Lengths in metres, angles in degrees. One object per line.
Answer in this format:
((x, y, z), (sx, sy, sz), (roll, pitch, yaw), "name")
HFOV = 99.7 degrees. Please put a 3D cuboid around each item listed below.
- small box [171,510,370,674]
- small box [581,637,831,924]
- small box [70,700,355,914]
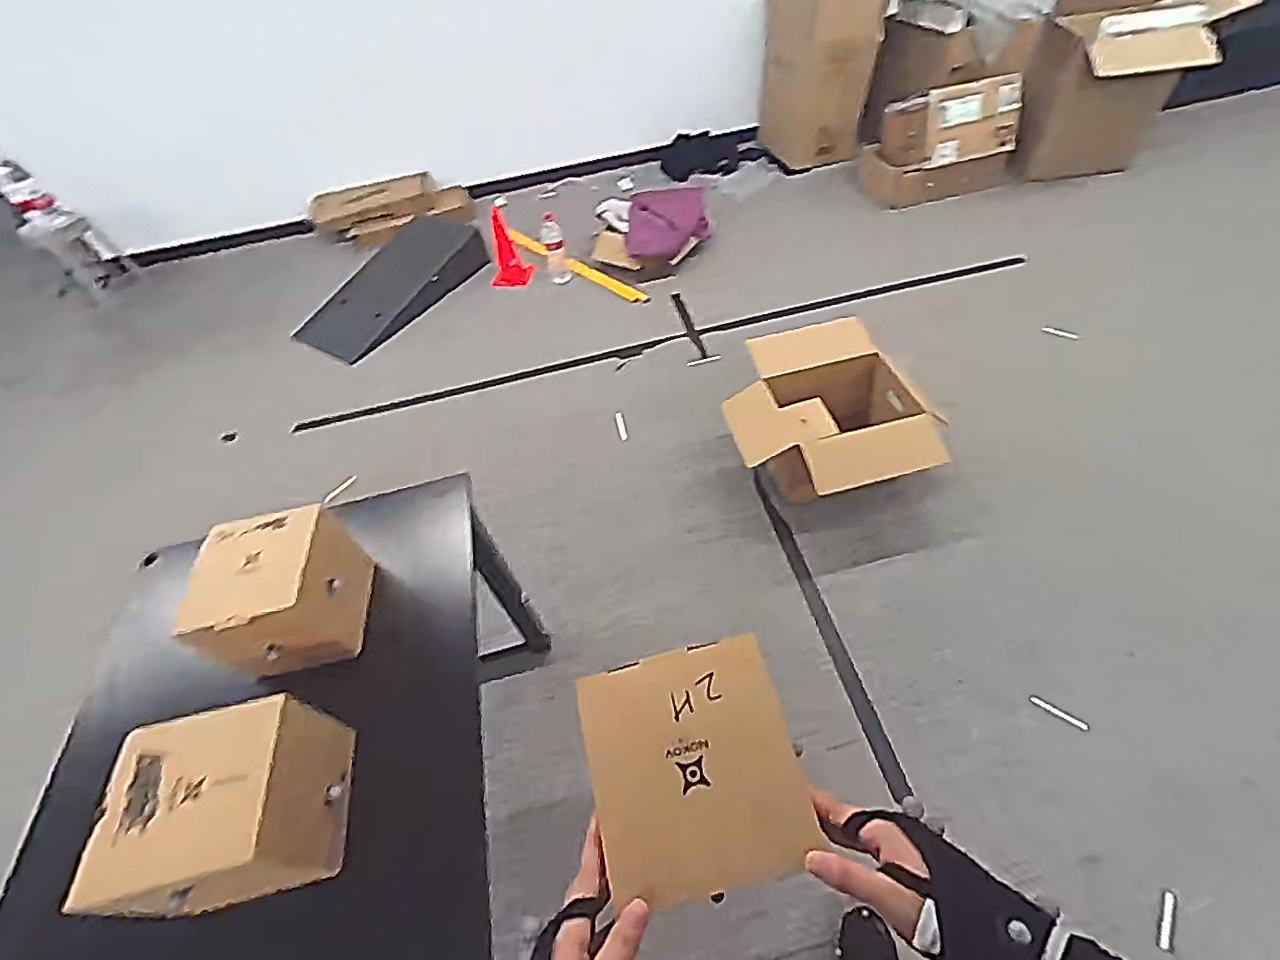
((-0.529, 0.175, 0.809), (0.168, 0.176, 0.179), (-12, 52, -2), "small box")
((0.053, 0.269, 0.503), (0.168, 0.176, 0.179), (-14, 59, -3), "small box")
((-0.469, 0.384, 0.631), (0.179, 0.176, 0.168), (-14, 51, -4), "small box")
